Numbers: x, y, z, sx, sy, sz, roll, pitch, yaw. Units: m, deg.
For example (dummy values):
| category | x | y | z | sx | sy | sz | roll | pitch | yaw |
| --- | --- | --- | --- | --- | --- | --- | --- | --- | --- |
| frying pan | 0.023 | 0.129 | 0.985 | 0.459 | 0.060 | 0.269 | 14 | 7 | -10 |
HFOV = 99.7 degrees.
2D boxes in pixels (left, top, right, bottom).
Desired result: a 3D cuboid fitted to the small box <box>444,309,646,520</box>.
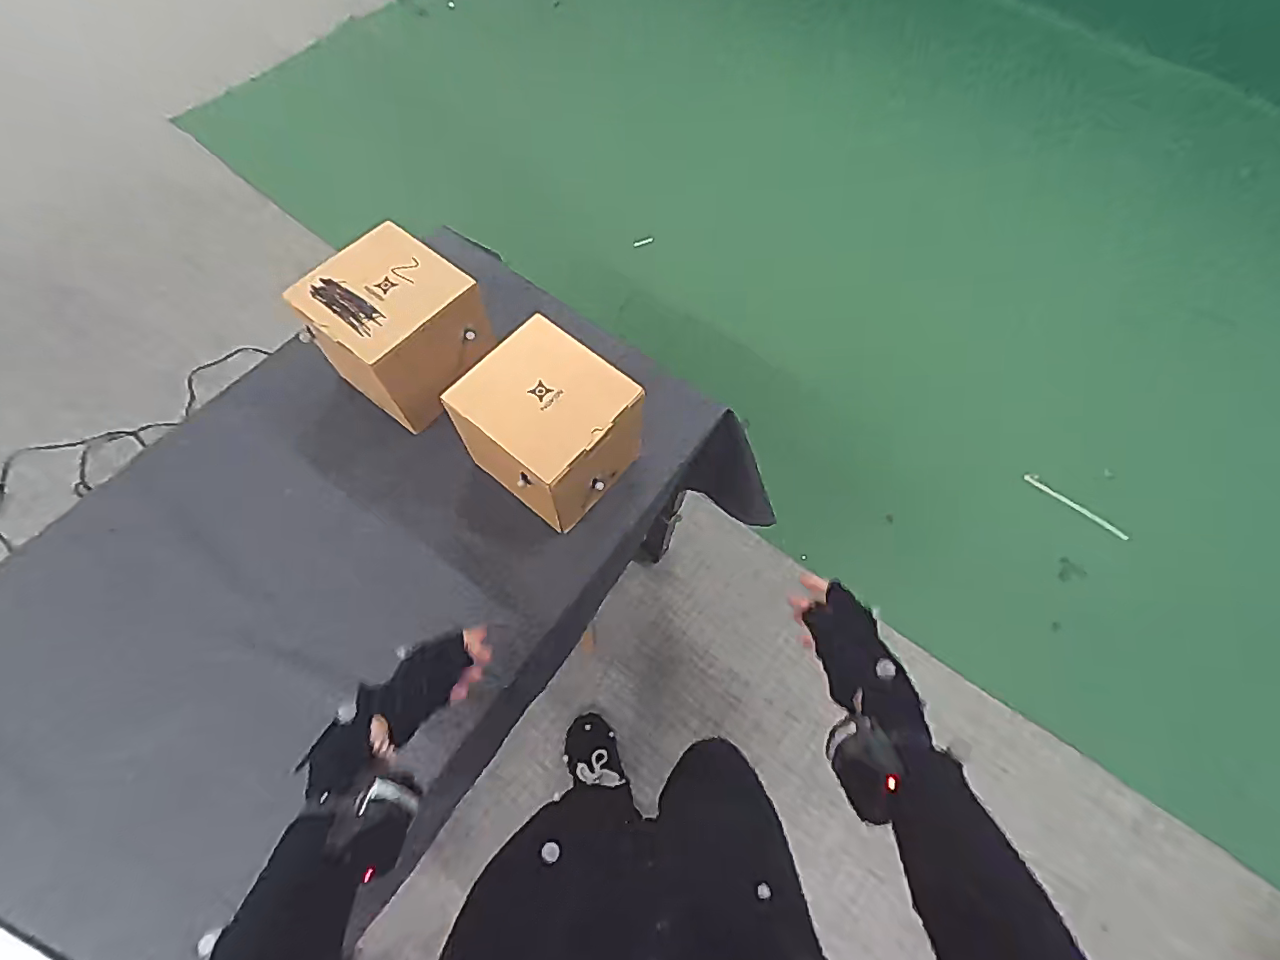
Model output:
| category | x | y | z | sx | sy | sz | roll | pitch | yaw |
| --- | --- | --- | --- | --- | --- | --- | --- | --- | --- |
| small box | -0.114 | -0.075 | 0.696 | 0.179 | 0.176 | 0.168 | 38 | 69 | 12 |

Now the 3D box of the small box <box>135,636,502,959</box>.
| category | x | y | z | sx | sy | sz | roll | pitch | yaw |
| --- | --- | --- | --- | --- | --- | --- | --- | --- | --- |
| small box | -0.239 | 0.264 | 0.448 | 0.176 | 0.179 | 0.168 | -26 | 97 | -2 |
